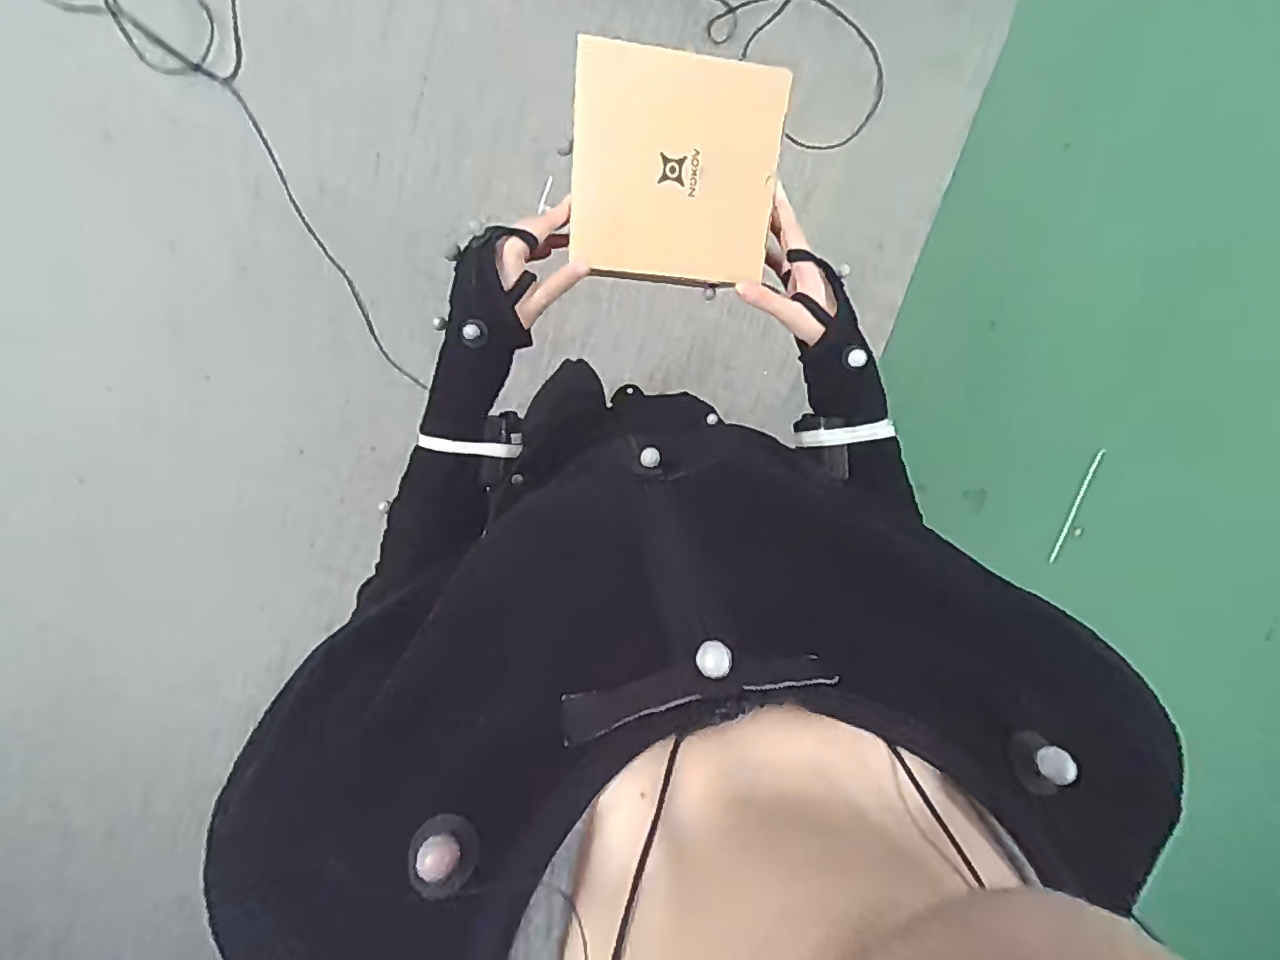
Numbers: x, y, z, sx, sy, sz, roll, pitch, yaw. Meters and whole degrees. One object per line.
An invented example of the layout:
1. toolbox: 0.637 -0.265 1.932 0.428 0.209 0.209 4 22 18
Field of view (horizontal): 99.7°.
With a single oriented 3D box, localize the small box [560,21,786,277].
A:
1. small box: 0.014 -0.291 0.519 0.179 0.176 0.168 1 108 -10
